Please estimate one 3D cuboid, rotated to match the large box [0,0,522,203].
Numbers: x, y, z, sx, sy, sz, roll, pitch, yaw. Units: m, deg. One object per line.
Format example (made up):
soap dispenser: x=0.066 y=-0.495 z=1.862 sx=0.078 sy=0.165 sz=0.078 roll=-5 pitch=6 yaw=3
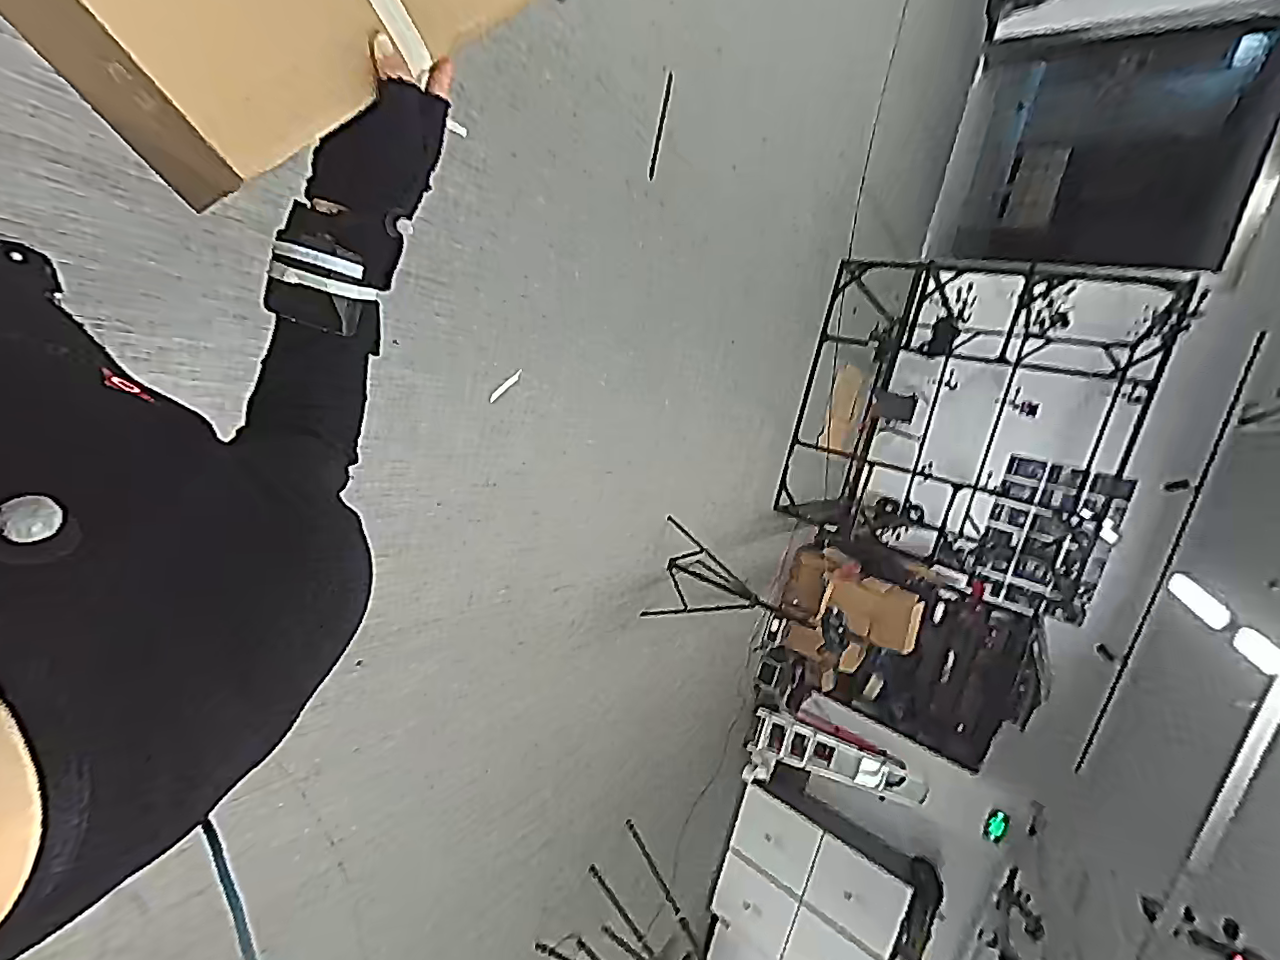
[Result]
large box: x=-0.355 y=-0.483 z=0.390 sx=0.320 sy=0.320 sz=0.408 roll=-49 pitch=134 yaw=-17
